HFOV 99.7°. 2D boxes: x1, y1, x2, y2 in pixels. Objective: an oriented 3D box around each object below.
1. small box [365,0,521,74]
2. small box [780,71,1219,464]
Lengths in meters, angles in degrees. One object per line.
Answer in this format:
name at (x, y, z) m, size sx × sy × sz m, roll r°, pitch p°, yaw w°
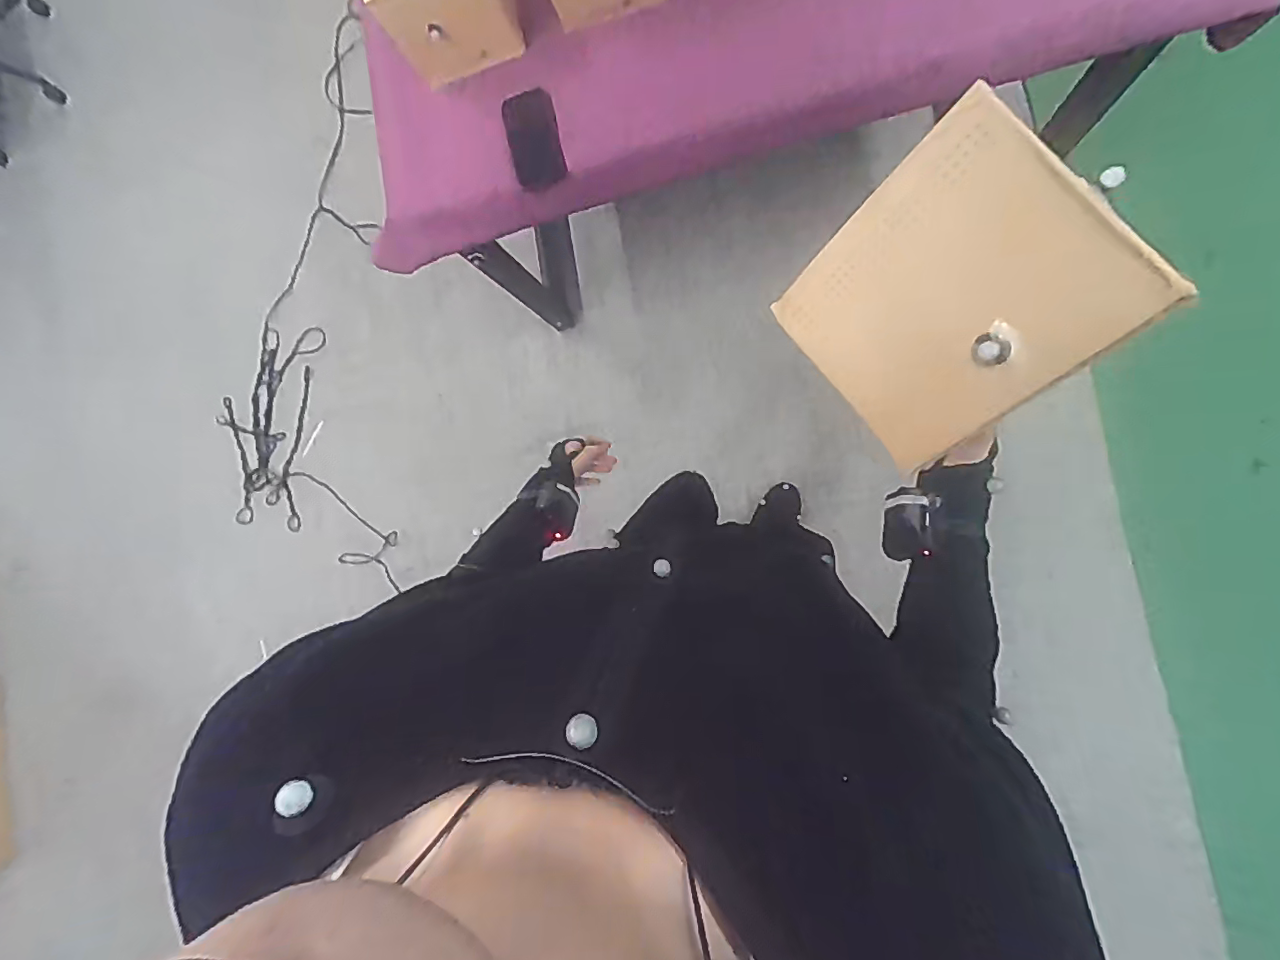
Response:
small box at (-0.289, -0.740, 0.784) m, size 0.168 × 0.176 × 0.179 m, roll -12°, pitch 86°, yaw 12°
small box at (0.239, -0.145, 0.393) m, size 0.176 × 0.168 × 0.179 m, roll 53°, pitch 133°, yaw 9°
